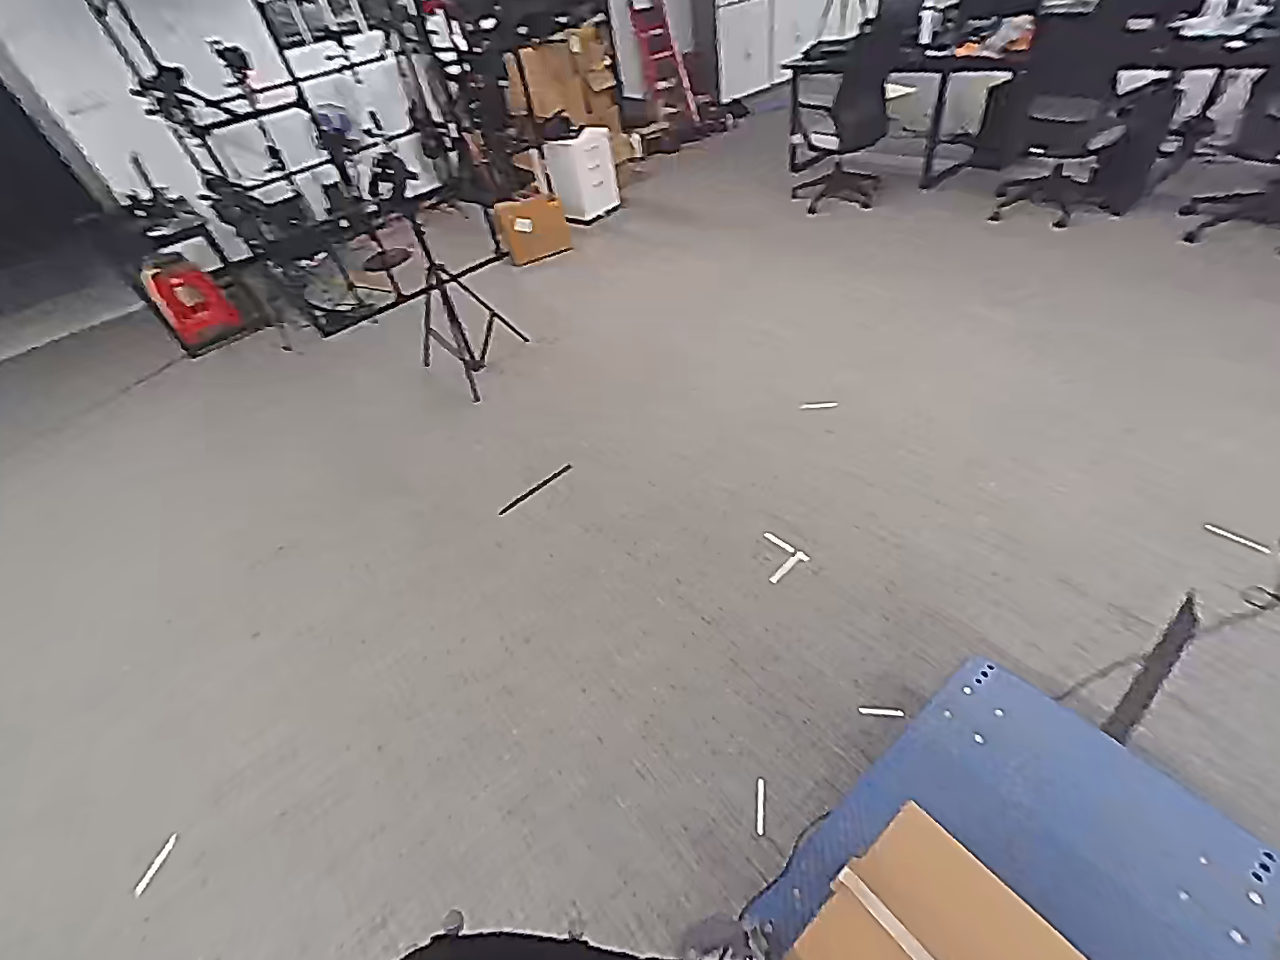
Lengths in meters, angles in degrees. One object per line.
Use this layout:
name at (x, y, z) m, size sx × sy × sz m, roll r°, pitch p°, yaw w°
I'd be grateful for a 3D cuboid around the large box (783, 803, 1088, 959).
large box at (0.459, 0.788, 0.793) m, size 0.320 × 0.320 × 0.408 m, roll -36°, pitch 48°, yaw -20°
